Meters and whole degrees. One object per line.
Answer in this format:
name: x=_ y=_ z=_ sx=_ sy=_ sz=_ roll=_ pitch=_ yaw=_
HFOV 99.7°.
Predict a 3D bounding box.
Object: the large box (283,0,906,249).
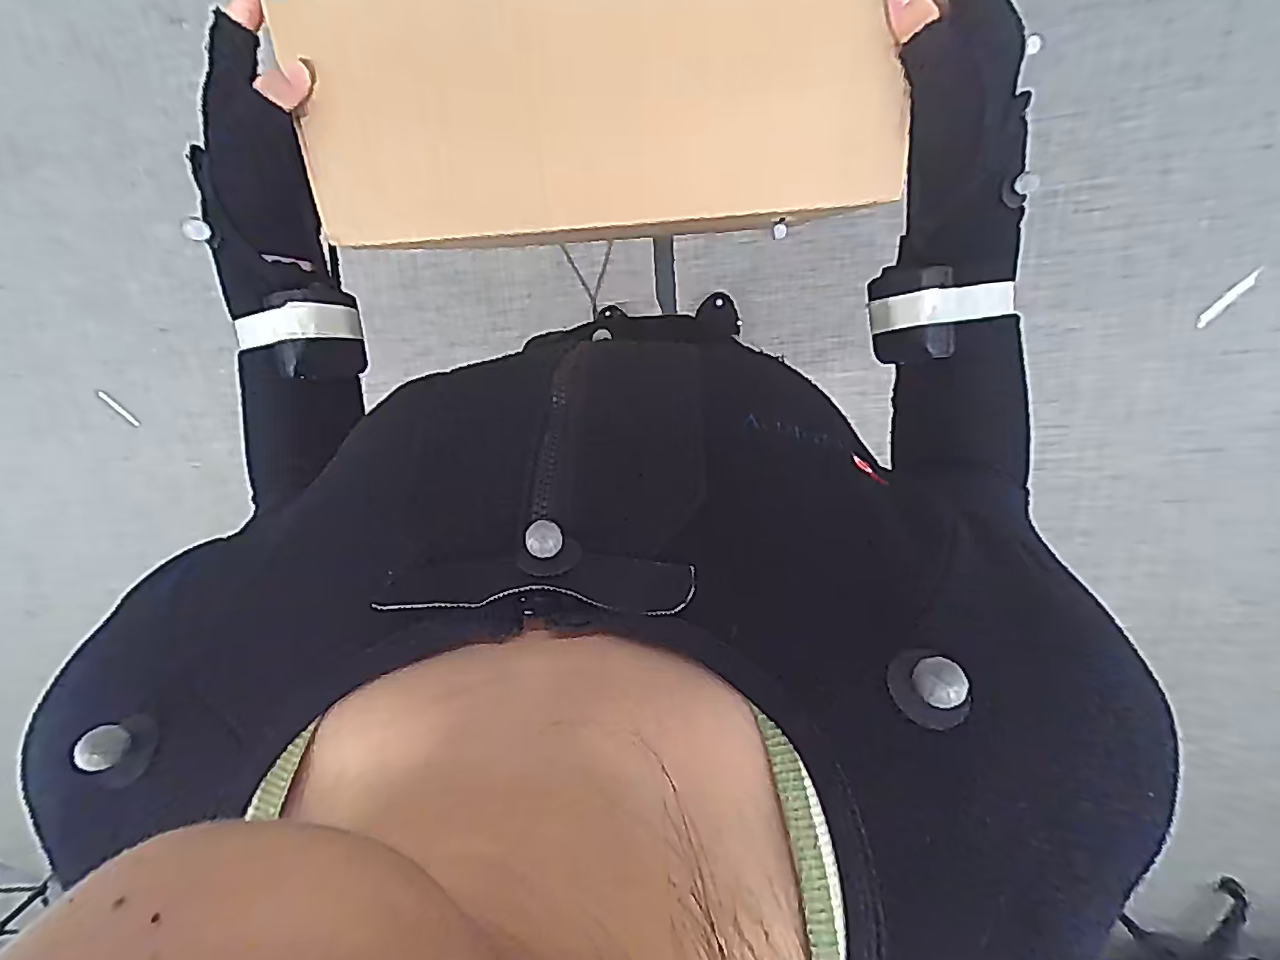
large box: x=-0.026 y=-0.386 z=0.469 sx=0.408 sy=0.320 sz=0.320 roll=-3 pitch=112 yaw=5
